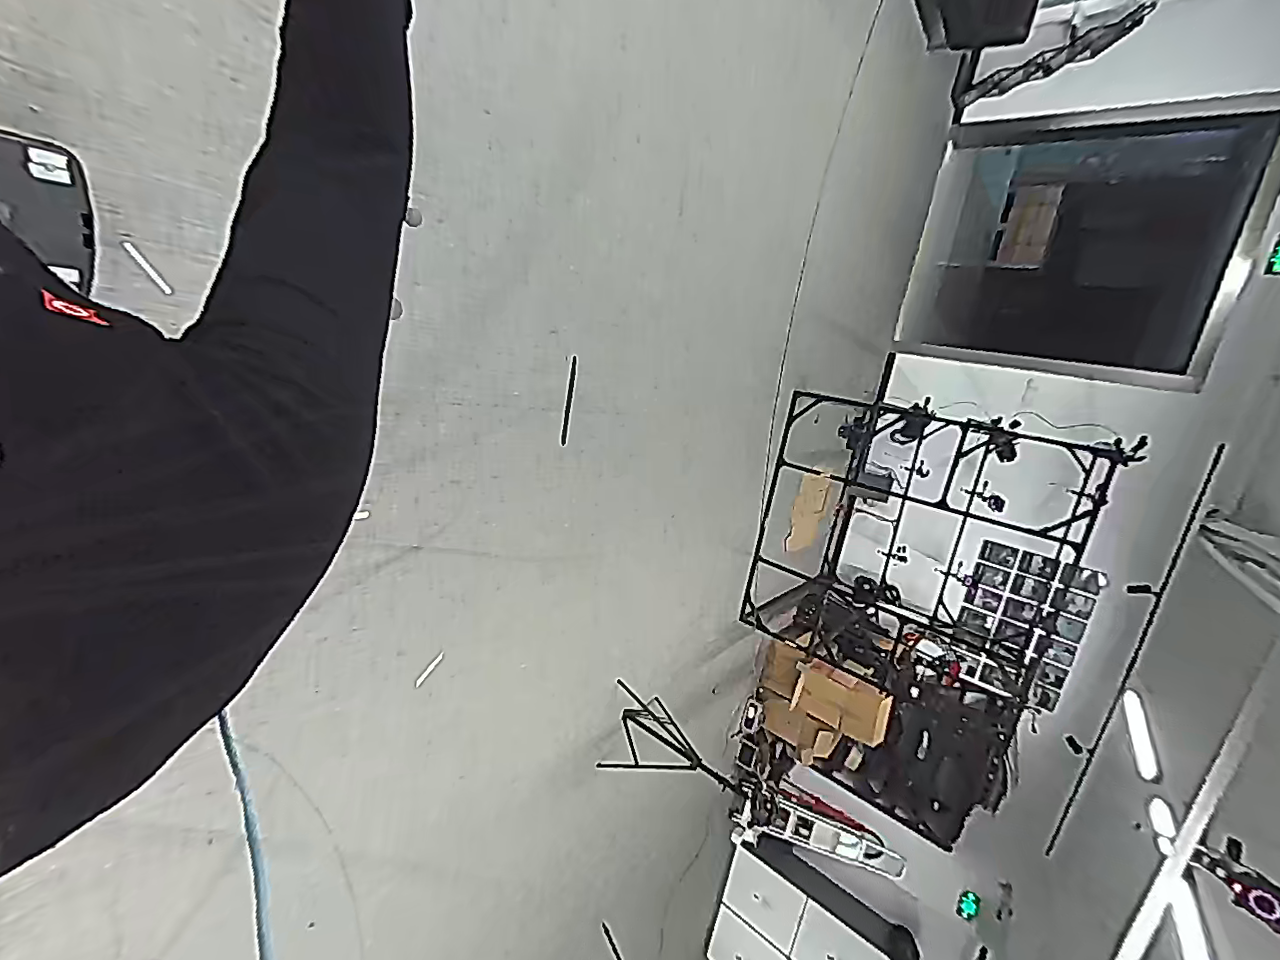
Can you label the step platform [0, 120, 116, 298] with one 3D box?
[{"bbox_3d":[-1.282,-0.479,0.833,0.684,0.204,0.286,-10,114,-53],"label":"step platform"}]
